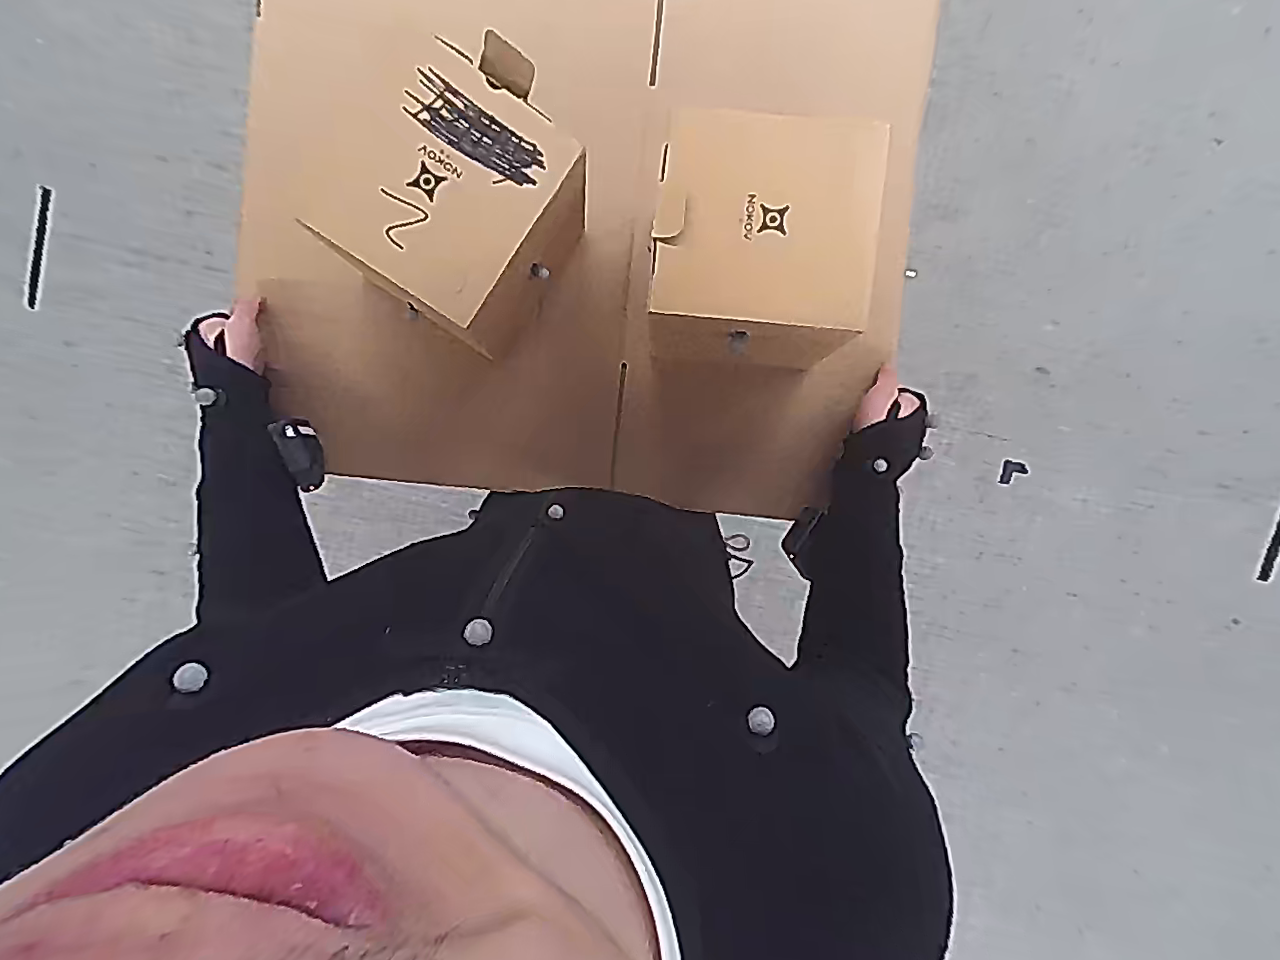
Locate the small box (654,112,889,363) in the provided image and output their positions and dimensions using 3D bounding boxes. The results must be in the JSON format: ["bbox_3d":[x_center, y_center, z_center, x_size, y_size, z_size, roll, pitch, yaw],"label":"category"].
[{"bbox_3d":[0.110,-0.213,0.521,0.179,0.176,0.168,6,92,3],"label":"small box"}]
